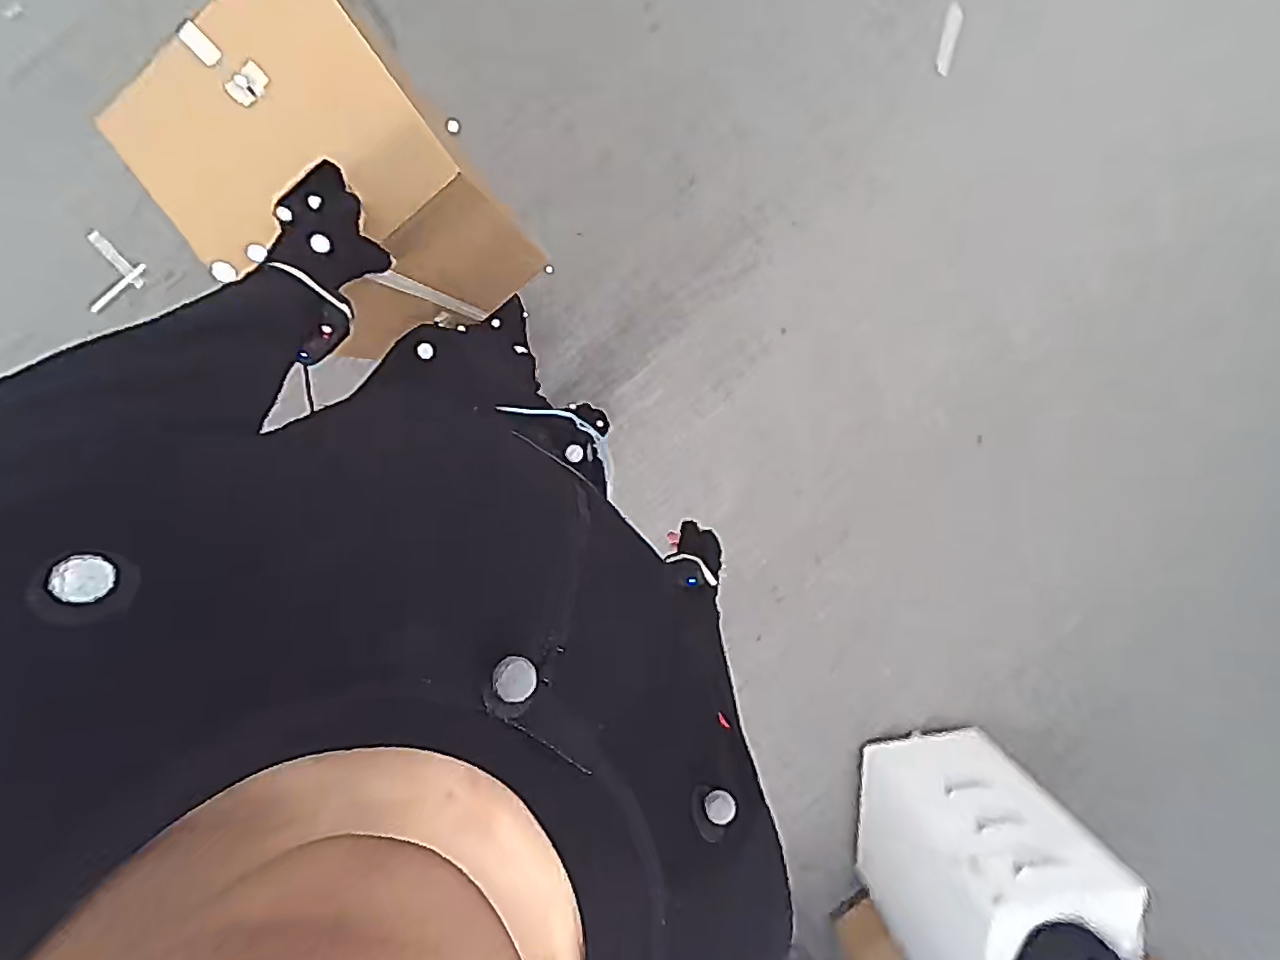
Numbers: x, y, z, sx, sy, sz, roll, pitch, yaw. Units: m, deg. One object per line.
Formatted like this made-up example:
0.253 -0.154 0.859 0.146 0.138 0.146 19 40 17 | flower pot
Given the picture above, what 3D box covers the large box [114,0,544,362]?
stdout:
-0.406 -0.400 0.816 0.320 0.408 0.320 -36 95 10 | large box
